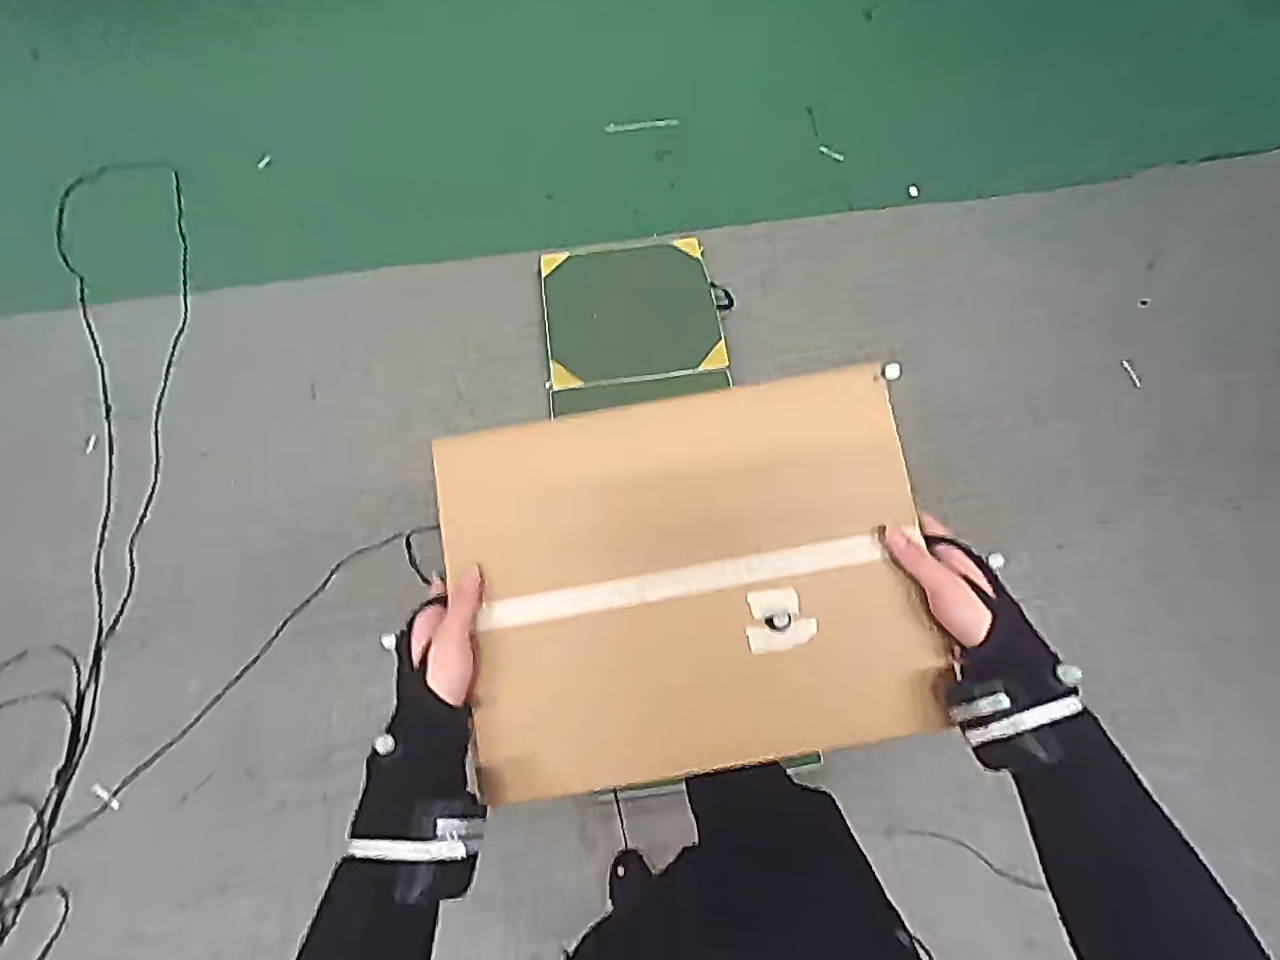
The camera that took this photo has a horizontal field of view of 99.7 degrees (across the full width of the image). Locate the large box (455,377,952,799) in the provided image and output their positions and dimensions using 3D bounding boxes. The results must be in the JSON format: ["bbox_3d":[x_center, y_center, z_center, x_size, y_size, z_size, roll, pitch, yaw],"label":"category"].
[{"bbox_3d":[0.049,0.109,0.629,0.408,0.320,0.320,-10,83,-1],"label":"large box"}]
